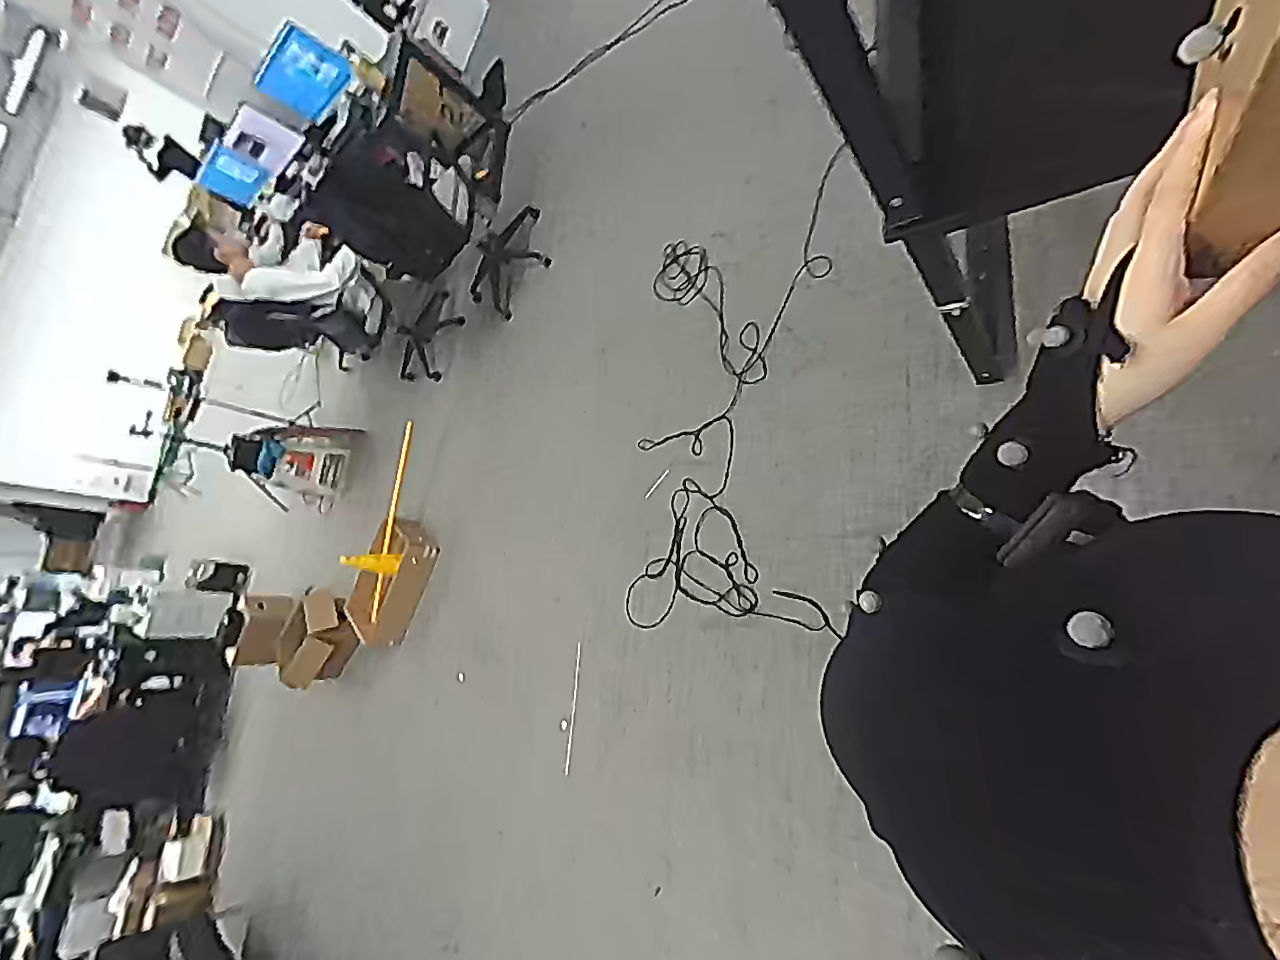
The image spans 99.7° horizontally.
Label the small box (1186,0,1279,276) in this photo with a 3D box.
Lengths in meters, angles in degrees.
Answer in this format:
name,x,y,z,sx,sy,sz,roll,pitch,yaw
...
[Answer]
name,x,y,z,sx,sy,sz,roll,pitch,yaw
small box,0.350,-0.194,0.201,0.179,0.176,0.168,12,81,35
